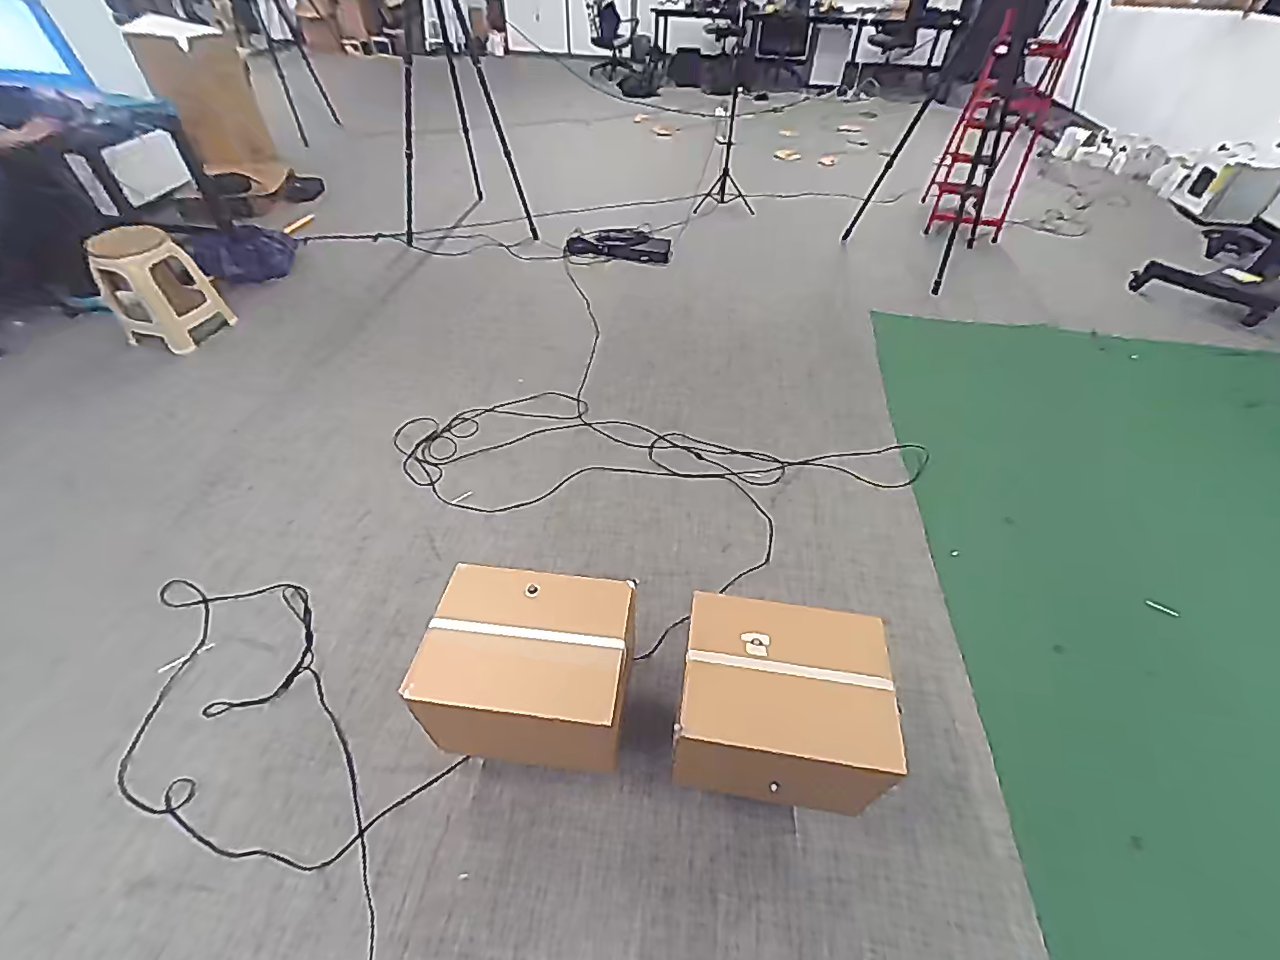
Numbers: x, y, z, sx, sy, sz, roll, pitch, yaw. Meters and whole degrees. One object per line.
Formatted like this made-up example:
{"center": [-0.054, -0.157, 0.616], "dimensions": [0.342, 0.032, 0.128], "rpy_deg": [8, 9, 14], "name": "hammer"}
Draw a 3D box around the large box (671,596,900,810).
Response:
{"center": [0.291, 0.491, 1.188], "dimensions": [0.408, 0.320, 0.320], "rpy_deg": [7, 46, 6], "name": "large box"}
